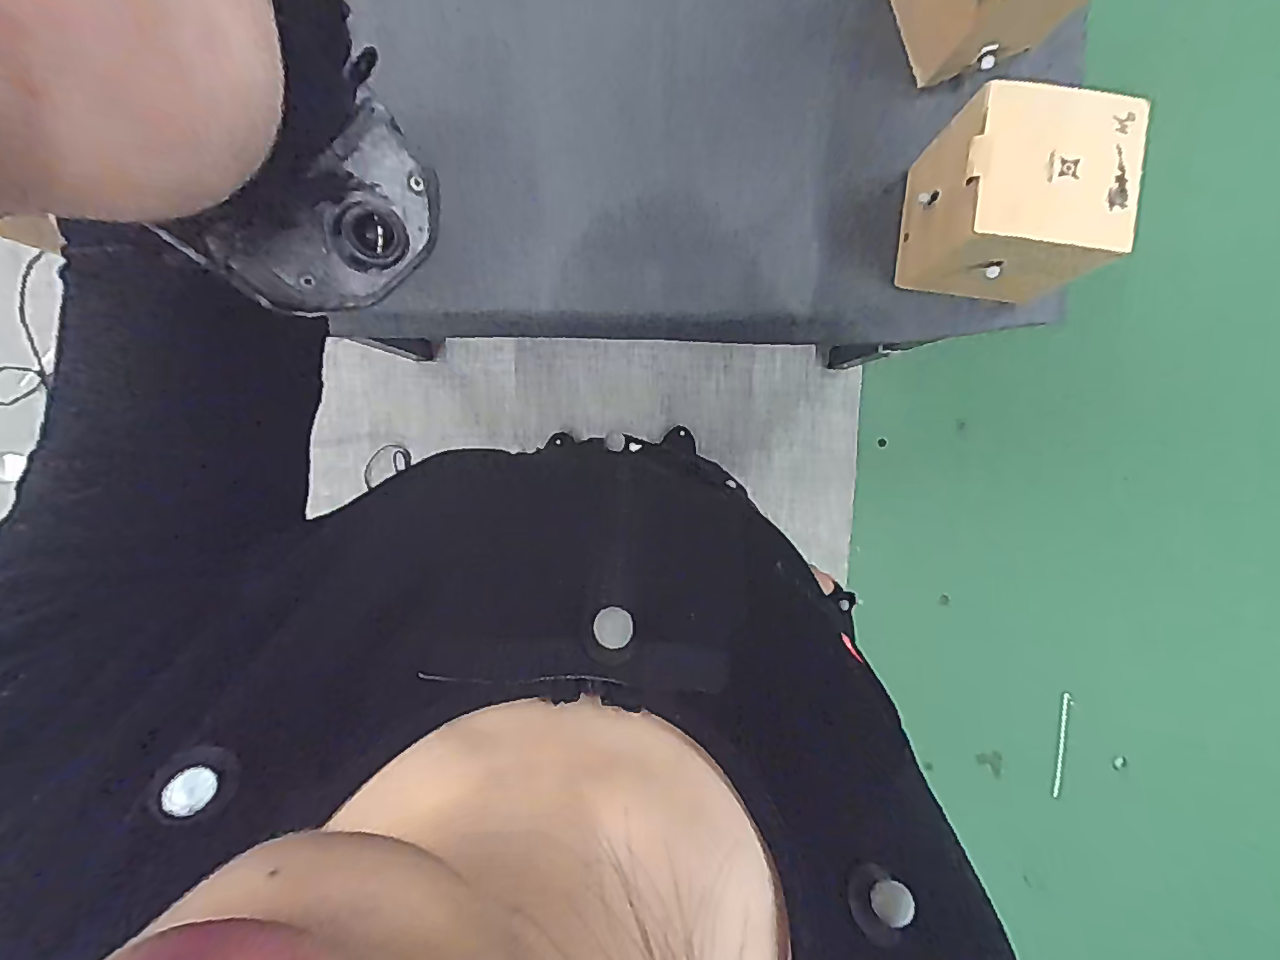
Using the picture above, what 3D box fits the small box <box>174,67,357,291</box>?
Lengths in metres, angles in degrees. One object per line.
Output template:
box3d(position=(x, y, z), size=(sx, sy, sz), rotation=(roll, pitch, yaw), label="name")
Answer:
box3d(position=(-0.460, -0.334, 0.634), size=(0.179, 0.176, 0.168), rotation=(-10, 96, 0), label="small box")

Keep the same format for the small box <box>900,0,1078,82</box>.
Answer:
box3d(position=(0.416, -0.619, 0.622), size=(0.168, 0.176, 0.179), rotation=(-20, 97, 4), label="small box")

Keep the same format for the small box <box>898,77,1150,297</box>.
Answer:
box3d(position=(0.436, -0.331, 0.645), size=(0.179, 0.176, 0.168), rotation=(7, 91, -1), label="small box")
